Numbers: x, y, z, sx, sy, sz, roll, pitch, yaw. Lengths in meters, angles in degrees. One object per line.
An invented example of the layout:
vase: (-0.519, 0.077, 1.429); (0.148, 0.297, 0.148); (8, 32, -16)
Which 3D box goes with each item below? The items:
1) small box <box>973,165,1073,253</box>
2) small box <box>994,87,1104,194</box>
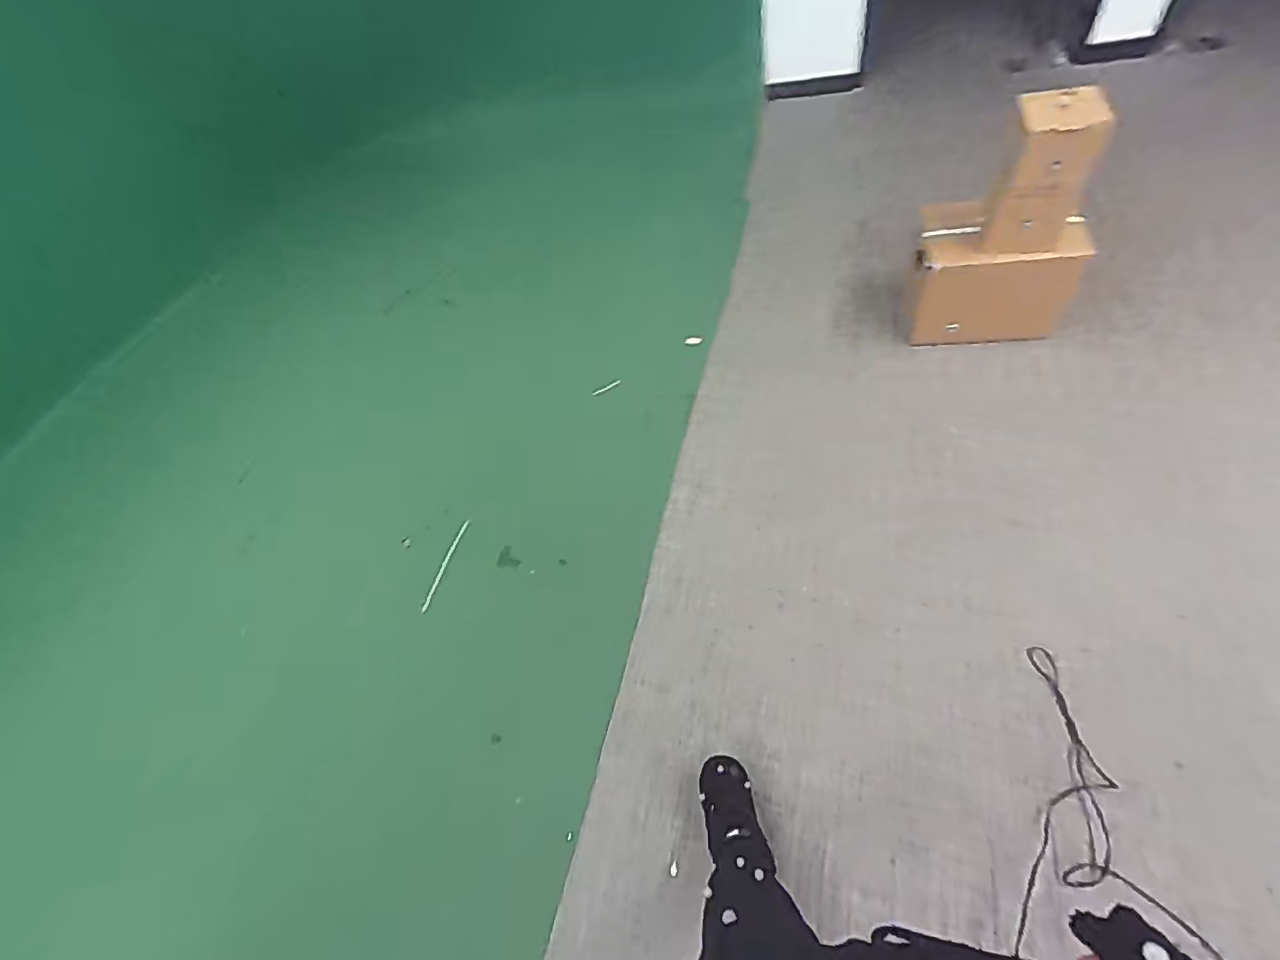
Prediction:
small box: (1.046, -0.748, 1.490); (0.179, 0.176, 0.168); (5, 59, 18)
small box: (1.016, -0.842, 1.359); (0.168, 0.176, 0.179); (4, 59, 16)
